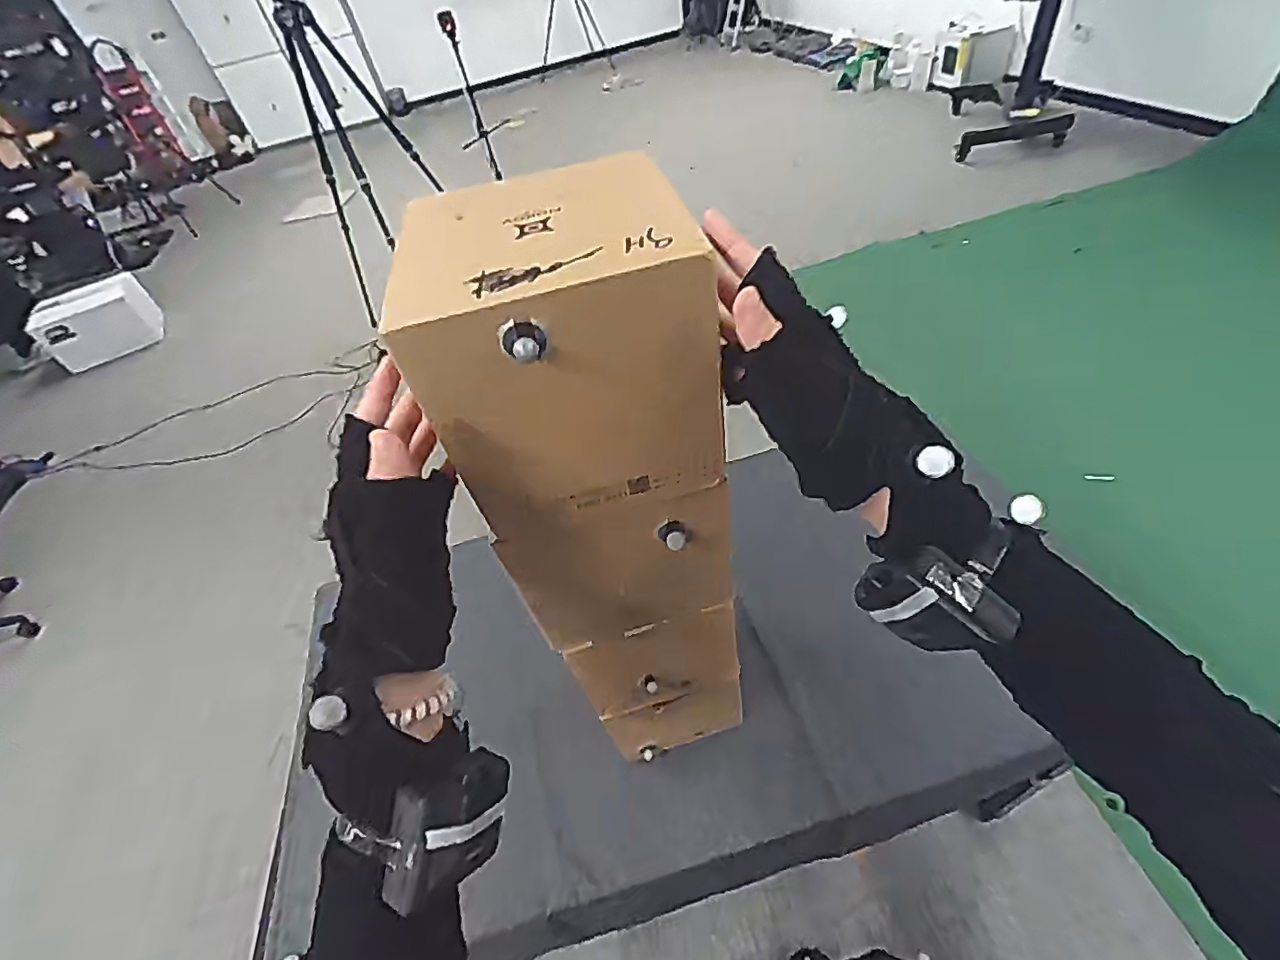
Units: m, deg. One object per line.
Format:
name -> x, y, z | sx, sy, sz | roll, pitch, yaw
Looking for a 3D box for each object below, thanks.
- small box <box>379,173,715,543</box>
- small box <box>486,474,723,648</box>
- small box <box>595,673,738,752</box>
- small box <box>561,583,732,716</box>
small box -> -0.051, -0.085, 0.380 | 0.168, 0.176, 0.179 | -15, 46, -1
small box -> -0.029, 0.027, 0.497 | 0.179, 0.176, 0.168 | -15, 46, -2
small box -> 0.026, 0.245, 0.734 | 0.168, 0.176, 0.179 | -17, 45, -3
small box -> -0.002, 0.136, 0.617 | 0.168, 0.176, 0.179 | -17, 46, -3
